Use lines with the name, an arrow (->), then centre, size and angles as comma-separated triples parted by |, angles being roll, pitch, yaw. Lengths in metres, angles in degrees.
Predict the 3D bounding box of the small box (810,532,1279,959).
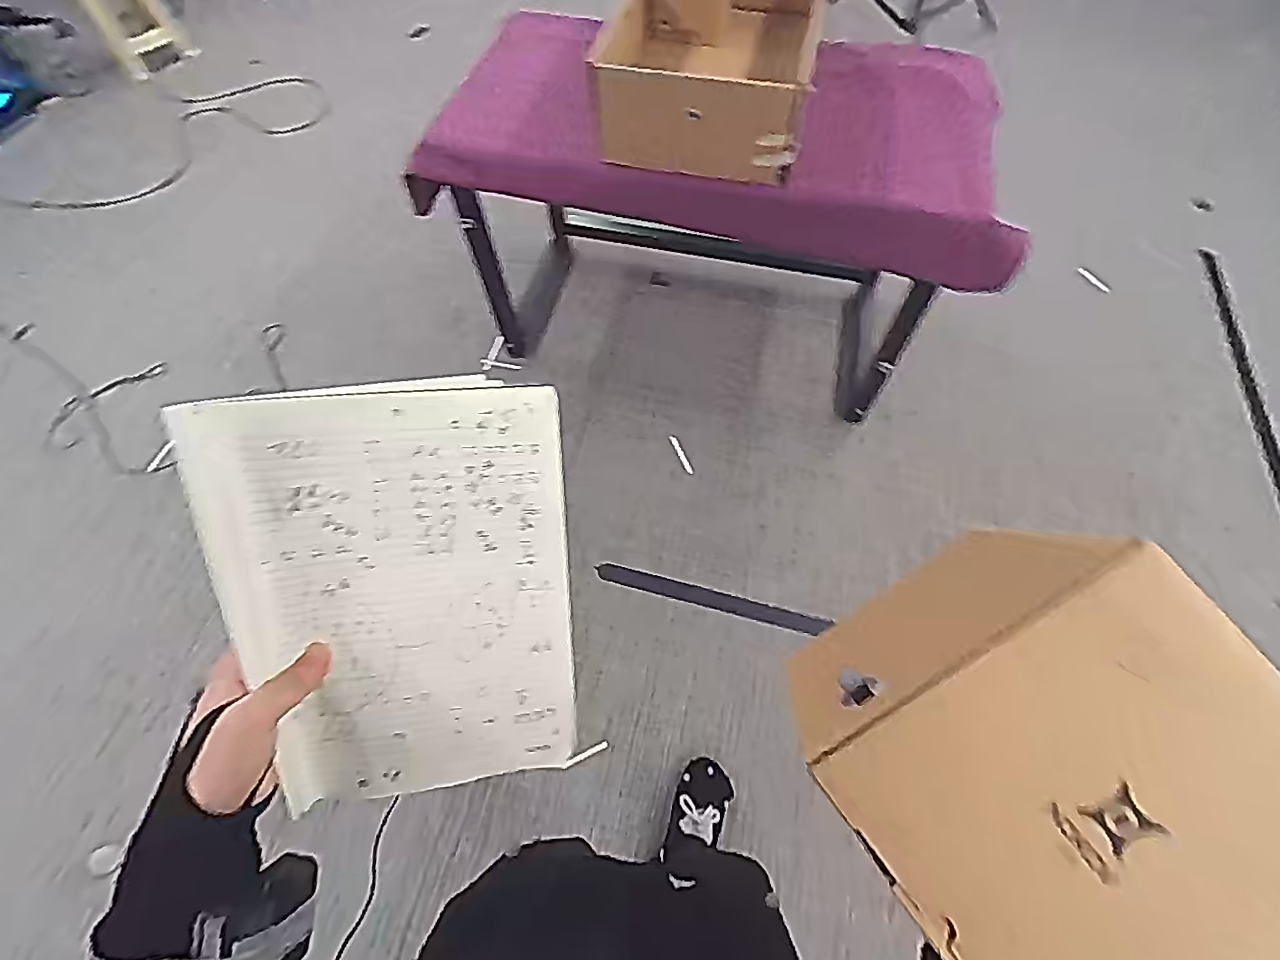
small box -> 0.215, 0.142, 0.296 | 0.179, 0.176, 0.168 | -39, 81, 9
